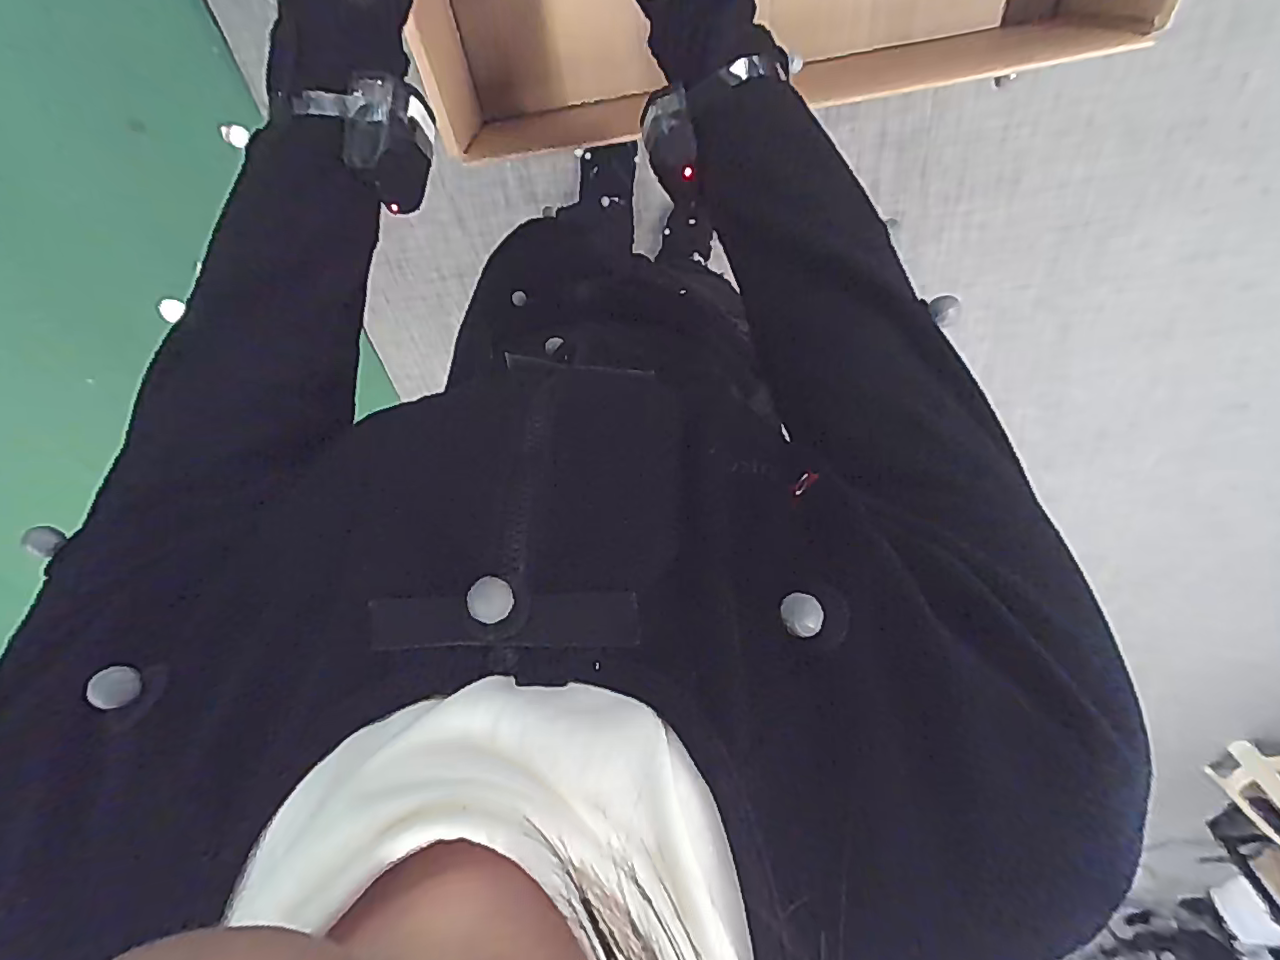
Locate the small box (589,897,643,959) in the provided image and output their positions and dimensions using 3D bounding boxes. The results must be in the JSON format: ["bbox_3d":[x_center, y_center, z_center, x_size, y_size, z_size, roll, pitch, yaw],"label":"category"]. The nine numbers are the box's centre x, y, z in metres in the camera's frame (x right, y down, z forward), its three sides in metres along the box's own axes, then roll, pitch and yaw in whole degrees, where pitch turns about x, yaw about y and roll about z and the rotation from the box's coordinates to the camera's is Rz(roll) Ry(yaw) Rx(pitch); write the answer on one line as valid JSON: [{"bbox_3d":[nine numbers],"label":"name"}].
[{"bbox_3d":[-0.080,1.612,1.921,0.168,0.176,0.179,-9,127,4],"label":"small box"}]
